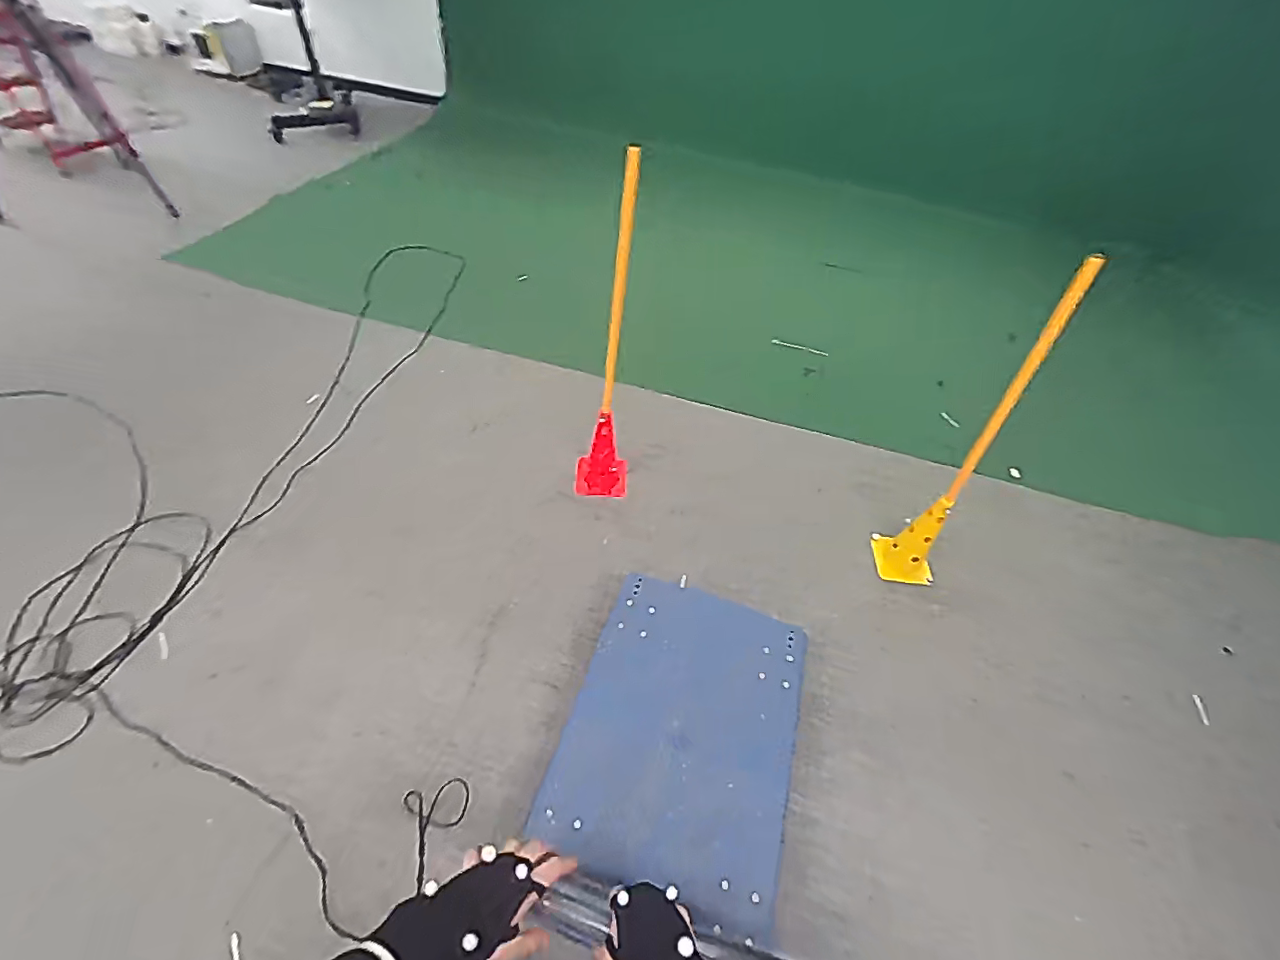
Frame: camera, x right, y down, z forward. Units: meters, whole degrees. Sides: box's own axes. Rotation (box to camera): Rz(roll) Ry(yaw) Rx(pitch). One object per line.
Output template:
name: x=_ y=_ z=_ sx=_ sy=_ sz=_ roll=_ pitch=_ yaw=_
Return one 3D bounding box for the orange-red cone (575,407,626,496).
orange-red cone: x=-0.143 y=-0.126 z=2.031 sx=0.199 sy=0.360 sz=0.198 roll=3 pitch=48 yaw=-2

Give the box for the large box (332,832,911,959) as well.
large box: x=-0.031 y=0.510 z=0.352 sx=0.408 sy=0.320 sz=0.320 roll=4 pitch=26 yaw=11
